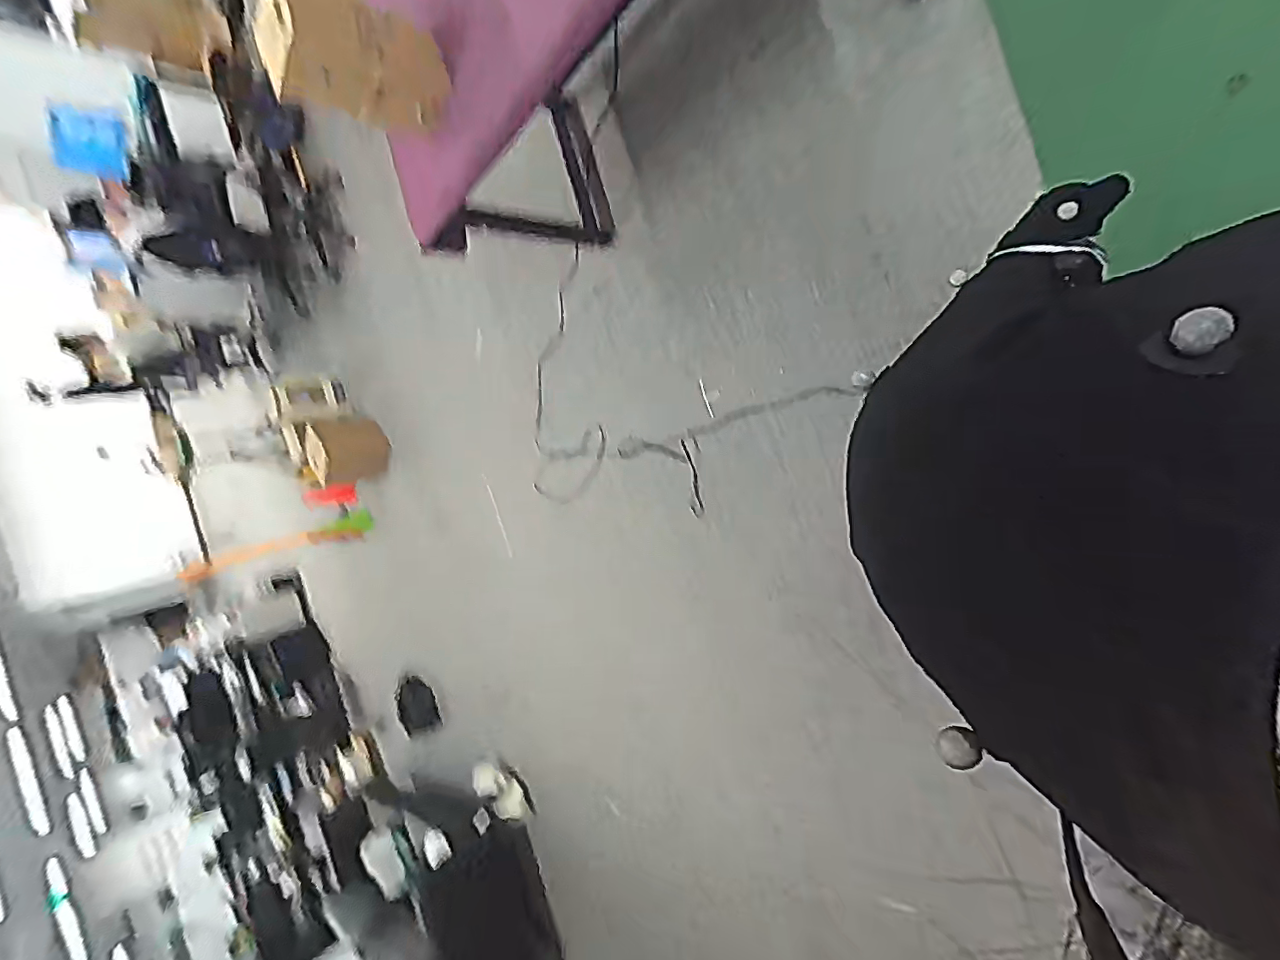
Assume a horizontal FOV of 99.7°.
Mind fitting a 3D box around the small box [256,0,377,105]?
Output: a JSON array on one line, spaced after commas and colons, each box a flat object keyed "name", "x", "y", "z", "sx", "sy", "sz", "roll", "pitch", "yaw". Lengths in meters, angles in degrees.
[{"name": "small box", "x": -0.676, "y": -0.947, "z": 1.138, "sx": 0.179, "sy": 0.176, "sz": 0.168, "roll": -23, "pitch": 84, "yaw": 44}]

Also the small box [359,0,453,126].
[{"name": "small box", "x": -0.566, "y": -0.974, "z": 1.261, "sx": 0.168, "sy": 0.176, "sz": 0.179, "roll": -26, "pitch": 83, "yaw": 45}]
